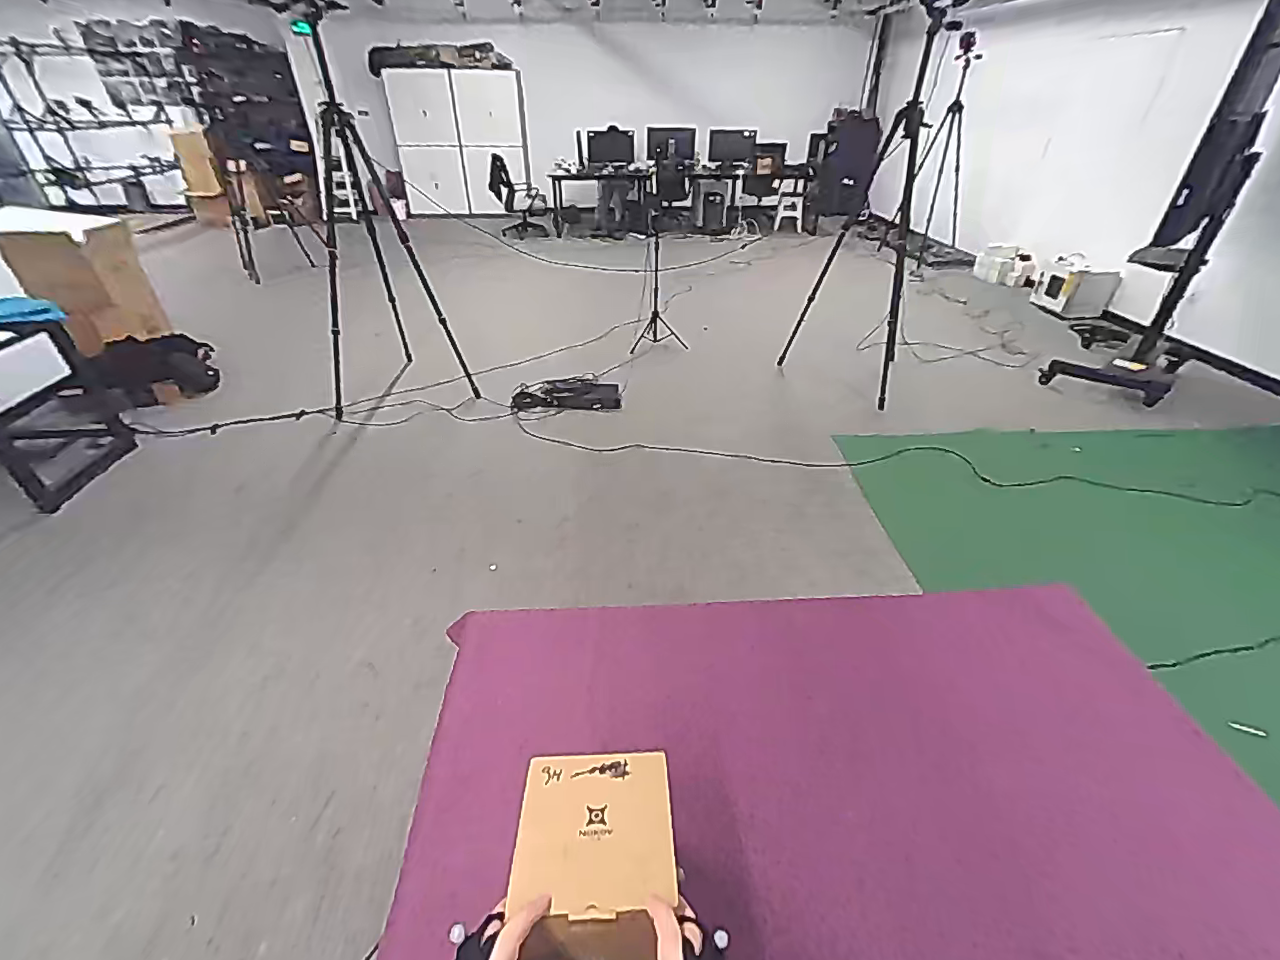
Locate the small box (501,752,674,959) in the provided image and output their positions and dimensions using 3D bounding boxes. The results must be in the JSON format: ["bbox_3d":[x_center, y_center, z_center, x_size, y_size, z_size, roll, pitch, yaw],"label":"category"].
[{"bbox_3d":[-0.048,0.444,0.613,0.168,0.176,0.179,-2,24,-1],"label":"small box"}]
